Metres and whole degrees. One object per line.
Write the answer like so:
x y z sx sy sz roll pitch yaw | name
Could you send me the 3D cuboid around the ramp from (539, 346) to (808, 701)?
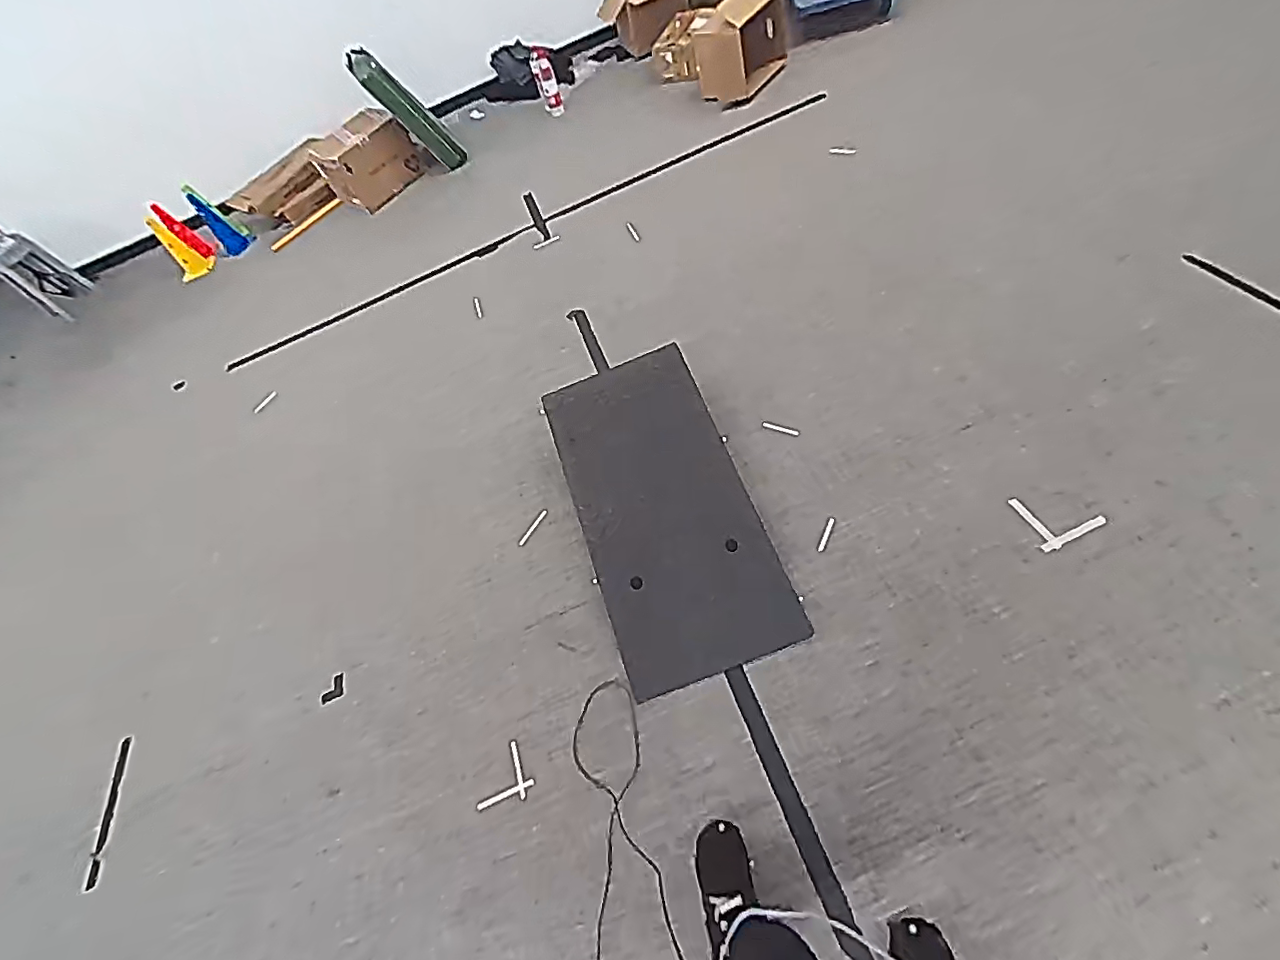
0.051 0.064 1.596 0.509 0.206 0.991 -23 55 0 | ramp
